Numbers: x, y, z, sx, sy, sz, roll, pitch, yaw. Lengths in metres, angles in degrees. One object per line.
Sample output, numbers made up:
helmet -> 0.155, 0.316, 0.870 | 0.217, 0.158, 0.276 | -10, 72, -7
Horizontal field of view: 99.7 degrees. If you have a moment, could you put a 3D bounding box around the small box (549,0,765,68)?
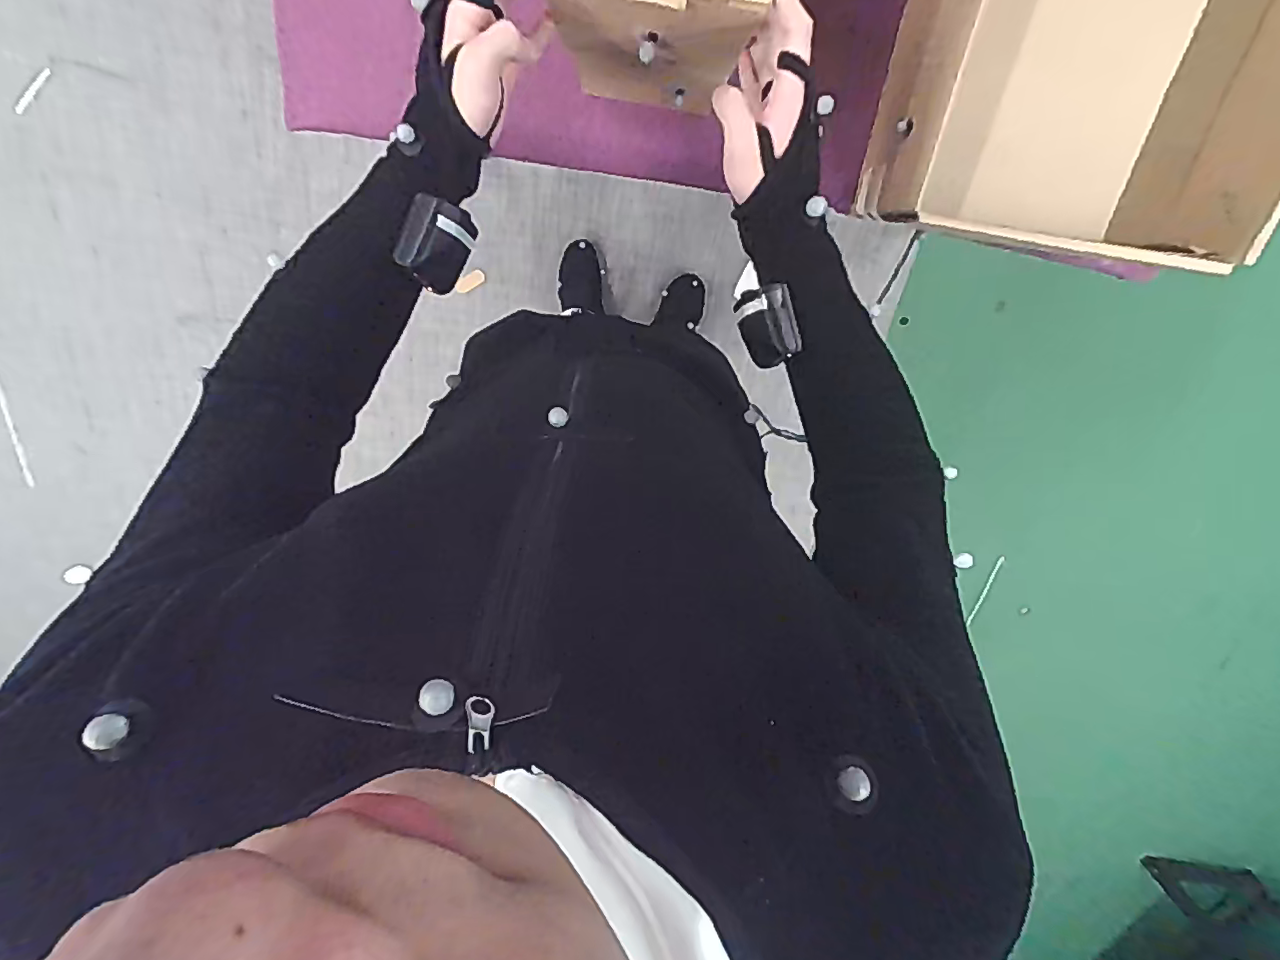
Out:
small box -> 0.018, -0.449, 0.416 | 0.168, 0.176, 0.179 | 6, 114, -4

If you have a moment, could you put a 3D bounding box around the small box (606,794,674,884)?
small box -> 0.003, 1.191, 1.803 | 0.179, 0.176, 0.168 | -23, 112, 9

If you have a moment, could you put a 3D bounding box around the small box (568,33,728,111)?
small box -> 0.021, -0.529, 0.586 | 0.168, 0.176, 0.179 | 8, 112, -5
